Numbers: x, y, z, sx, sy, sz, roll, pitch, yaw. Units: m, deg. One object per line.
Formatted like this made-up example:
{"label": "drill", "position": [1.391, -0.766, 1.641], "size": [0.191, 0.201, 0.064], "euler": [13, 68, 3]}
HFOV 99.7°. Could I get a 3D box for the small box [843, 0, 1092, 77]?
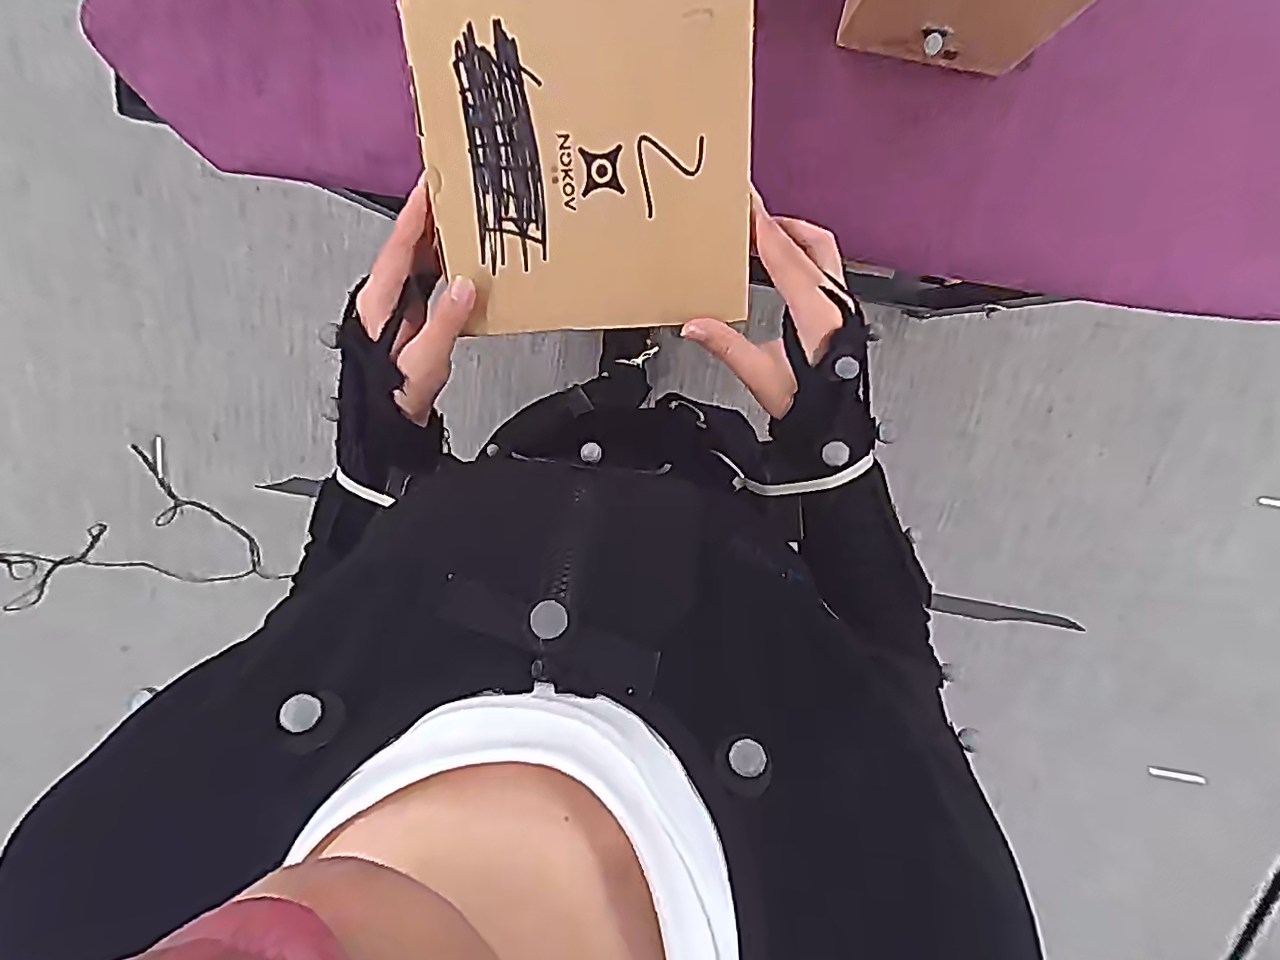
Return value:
{"label": "small box", "position": [0.282, -0.470, 0.427], "size": [0.168, 0.176, 0.179], "euler": [11, 105, 0]}
